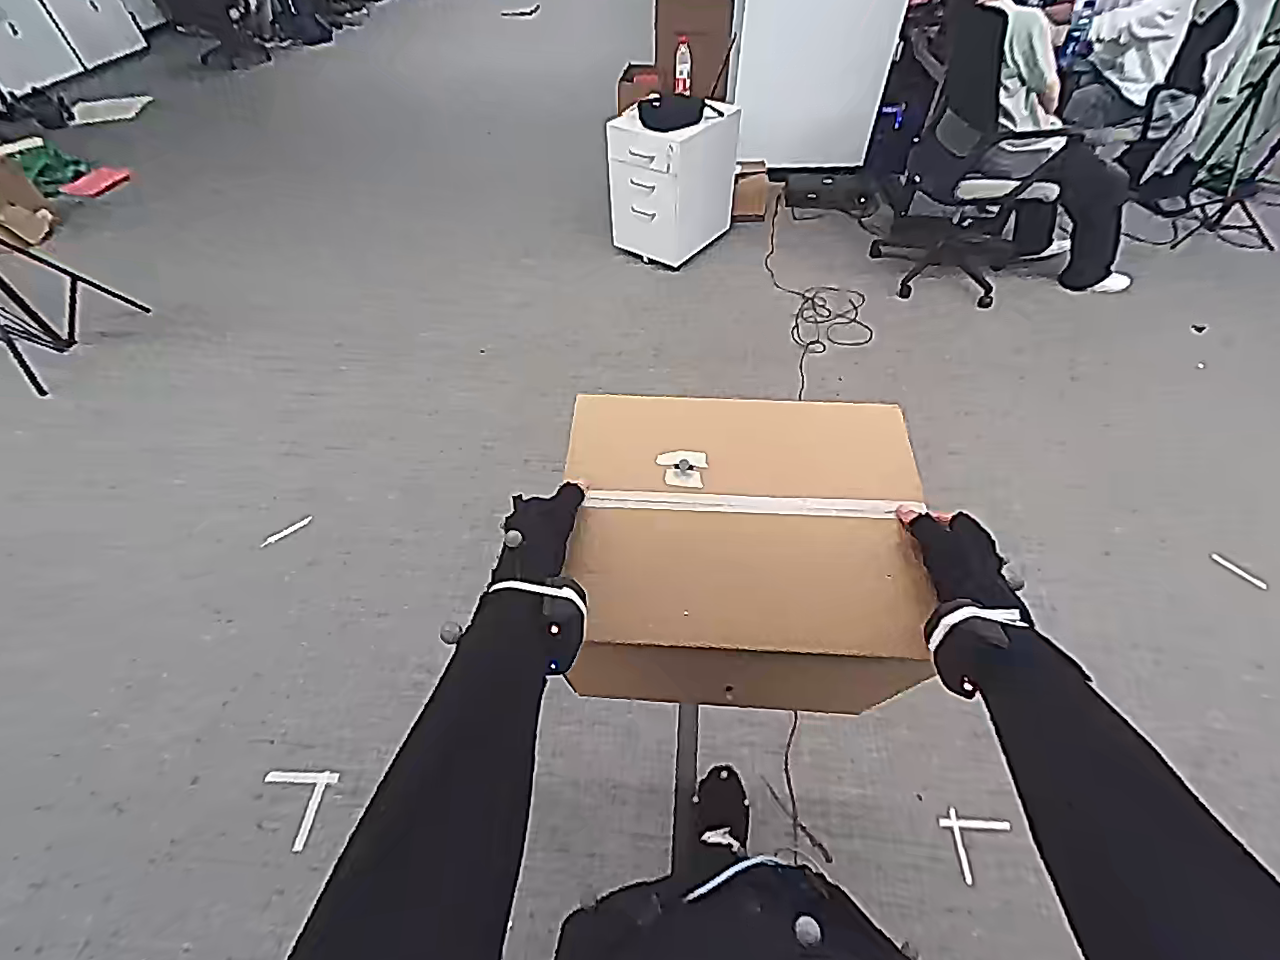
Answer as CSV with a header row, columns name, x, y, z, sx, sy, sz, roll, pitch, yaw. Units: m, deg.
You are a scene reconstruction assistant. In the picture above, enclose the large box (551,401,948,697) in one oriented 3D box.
name,x,y,z,sx,sy,sz,roll,pitch,yaw
large box,0.120,0.107,0.743,0.408,0.320,0.320,2,58,3
